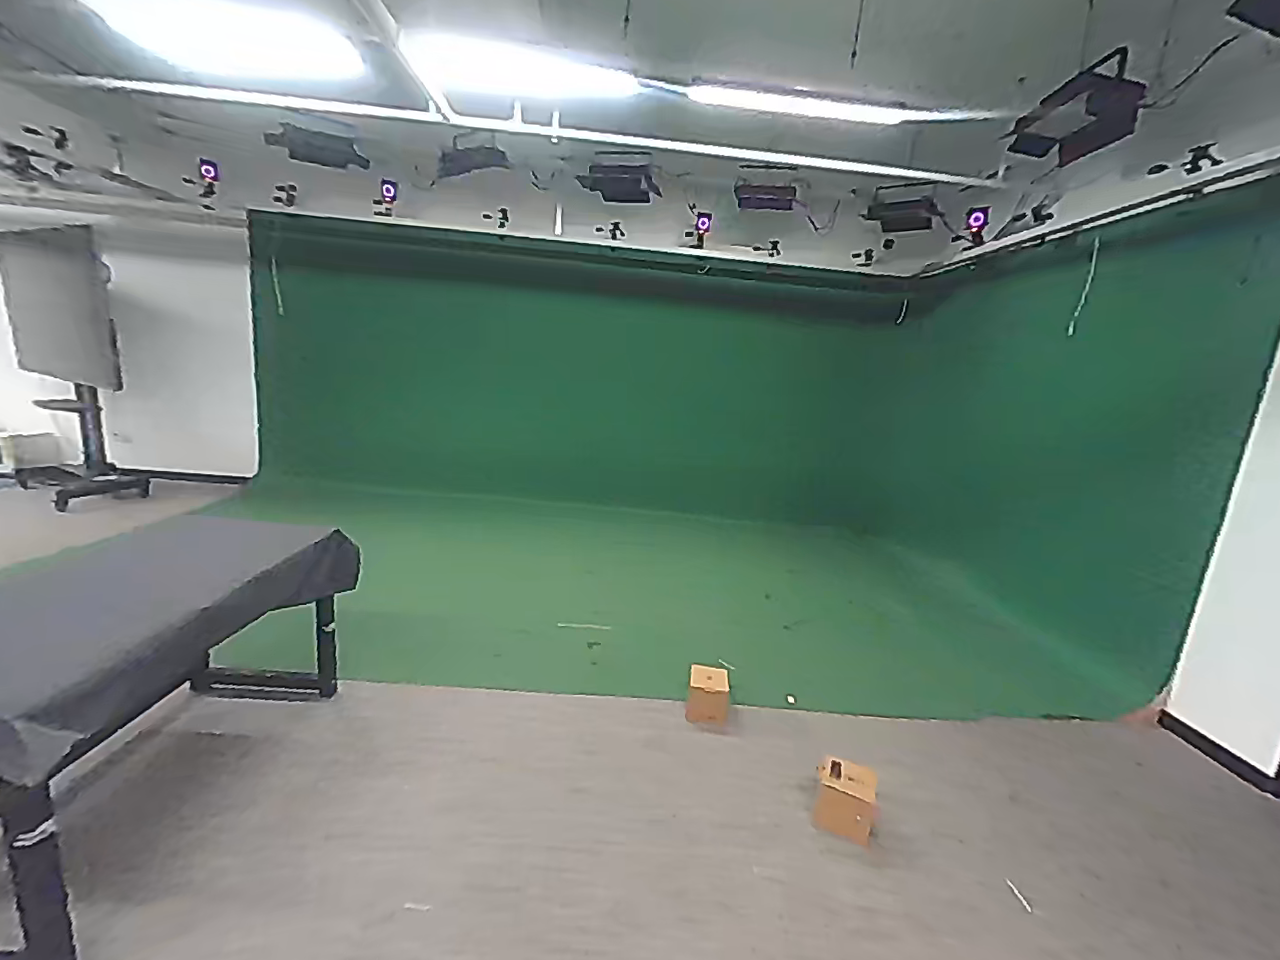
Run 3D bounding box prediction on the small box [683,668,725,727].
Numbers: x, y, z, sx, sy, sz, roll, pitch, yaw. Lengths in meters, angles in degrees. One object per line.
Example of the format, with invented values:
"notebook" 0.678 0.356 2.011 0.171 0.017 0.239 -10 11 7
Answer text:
"small box" 0.285 0.965 2.398 0.168 0.176 0.179 8 11 5
